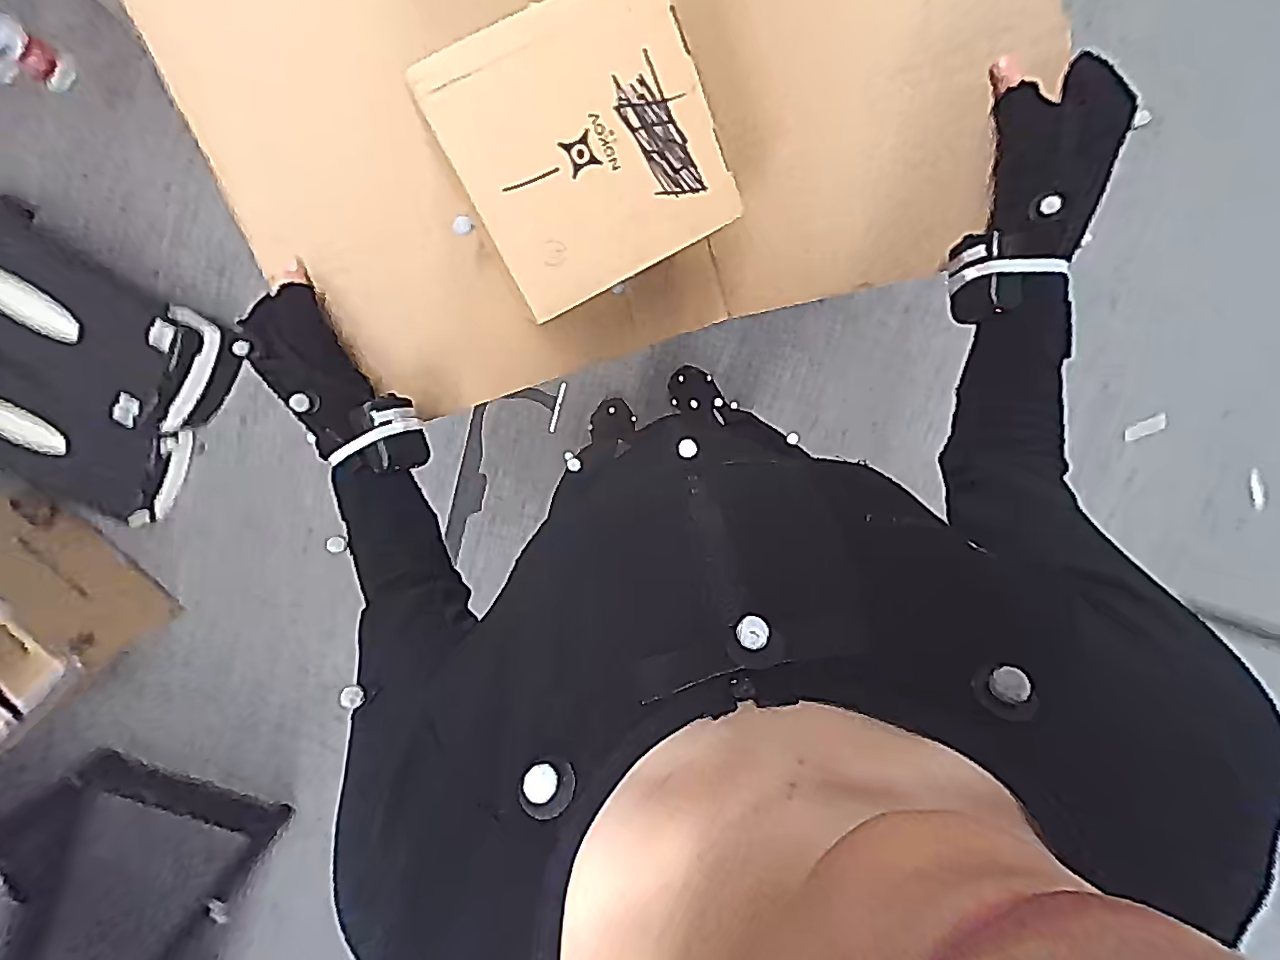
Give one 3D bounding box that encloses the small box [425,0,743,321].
[{"bbox_3d":[-0.049,-0.249,0.442,0.179,0.176,0.168,-29,114,-4],"label":"small box"}]
